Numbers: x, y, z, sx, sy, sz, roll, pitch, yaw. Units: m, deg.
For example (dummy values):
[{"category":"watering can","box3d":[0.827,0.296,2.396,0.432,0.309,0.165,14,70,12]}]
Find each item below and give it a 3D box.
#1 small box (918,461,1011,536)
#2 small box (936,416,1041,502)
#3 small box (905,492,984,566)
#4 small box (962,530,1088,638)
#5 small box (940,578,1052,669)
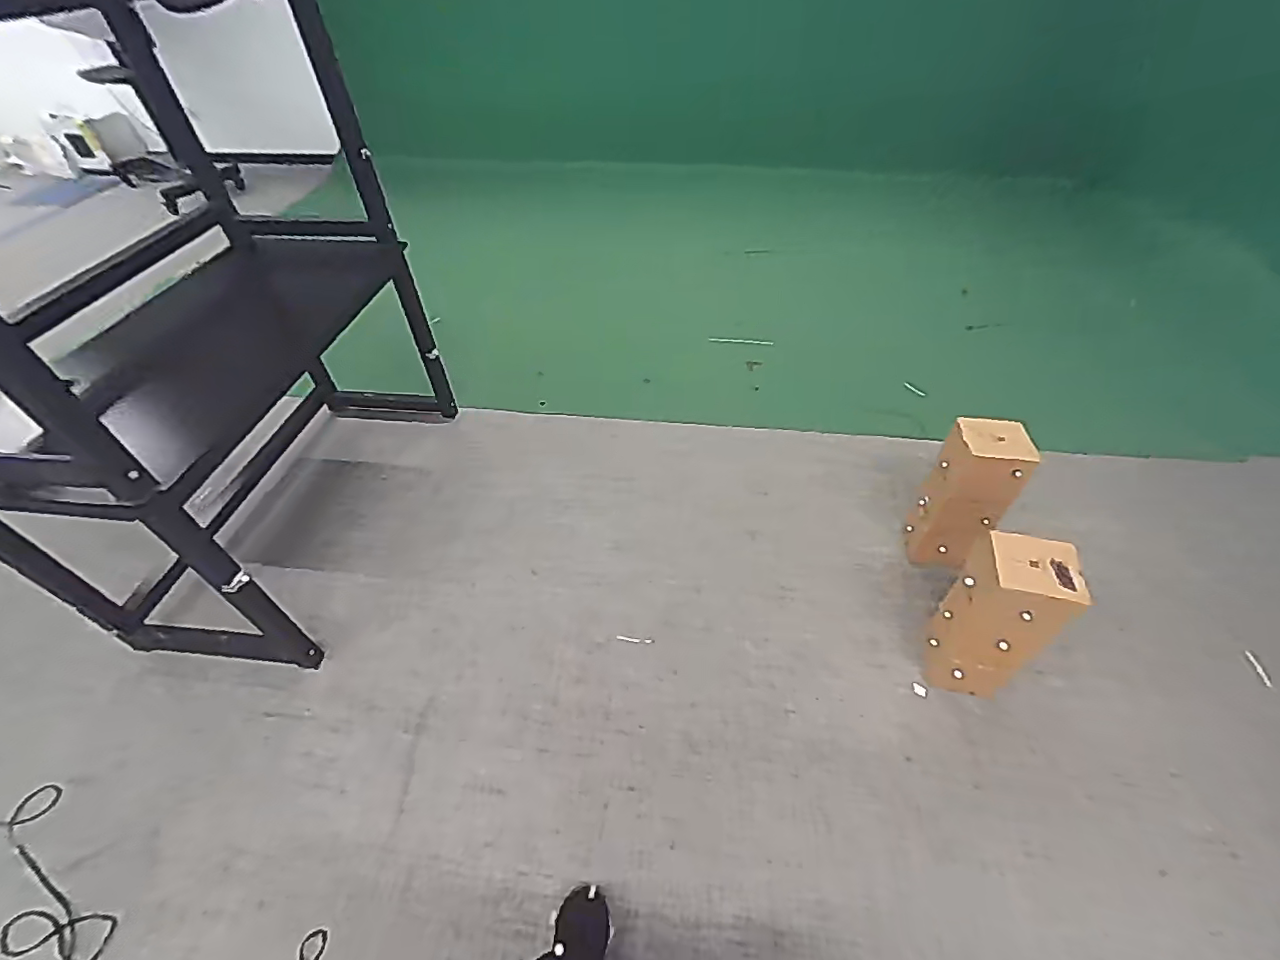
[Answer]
[{"category":"small box","box3d":[0.977,0.055,1.644,0.179,0.176,0.168,4,46,7]},{"category":"small box","box3d":[0.969,-0.056,1.522,0.179,0.176,0.168,5,46,7]},{"category":"small box","box3d":[0.982,0.163,1.765,0.179,0.176,0.168,7,48,9]},{"category":"small box","box3d":[0.876,0.244,1.249,0.179,0.176,0.168,11,48,14]},{"category":"small box","box3d":[0.889,0.357,1.368,0.179,0.176,0.168,10,48,12]}]
